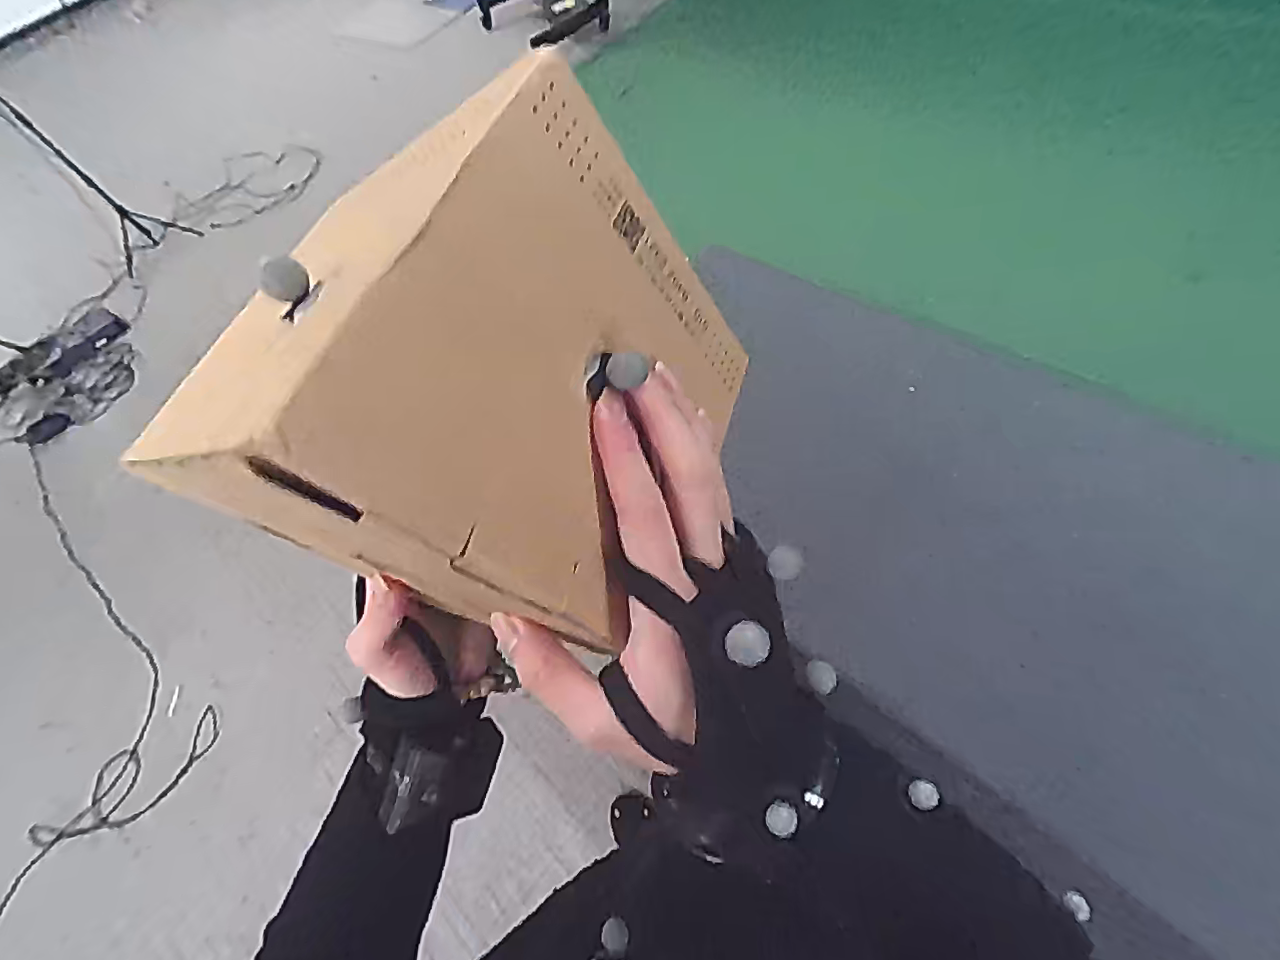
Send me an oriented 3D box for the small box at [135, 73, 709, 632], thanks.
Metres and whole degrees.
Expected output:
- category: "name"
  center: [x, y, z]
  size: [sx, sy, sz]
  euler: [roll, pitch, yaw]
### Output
- category: "small box"
  center: [-0.081, -0.044, 0.266]
  size: [0.179, 0.168, 0.176]
  euler: [-1, 57, 39]
